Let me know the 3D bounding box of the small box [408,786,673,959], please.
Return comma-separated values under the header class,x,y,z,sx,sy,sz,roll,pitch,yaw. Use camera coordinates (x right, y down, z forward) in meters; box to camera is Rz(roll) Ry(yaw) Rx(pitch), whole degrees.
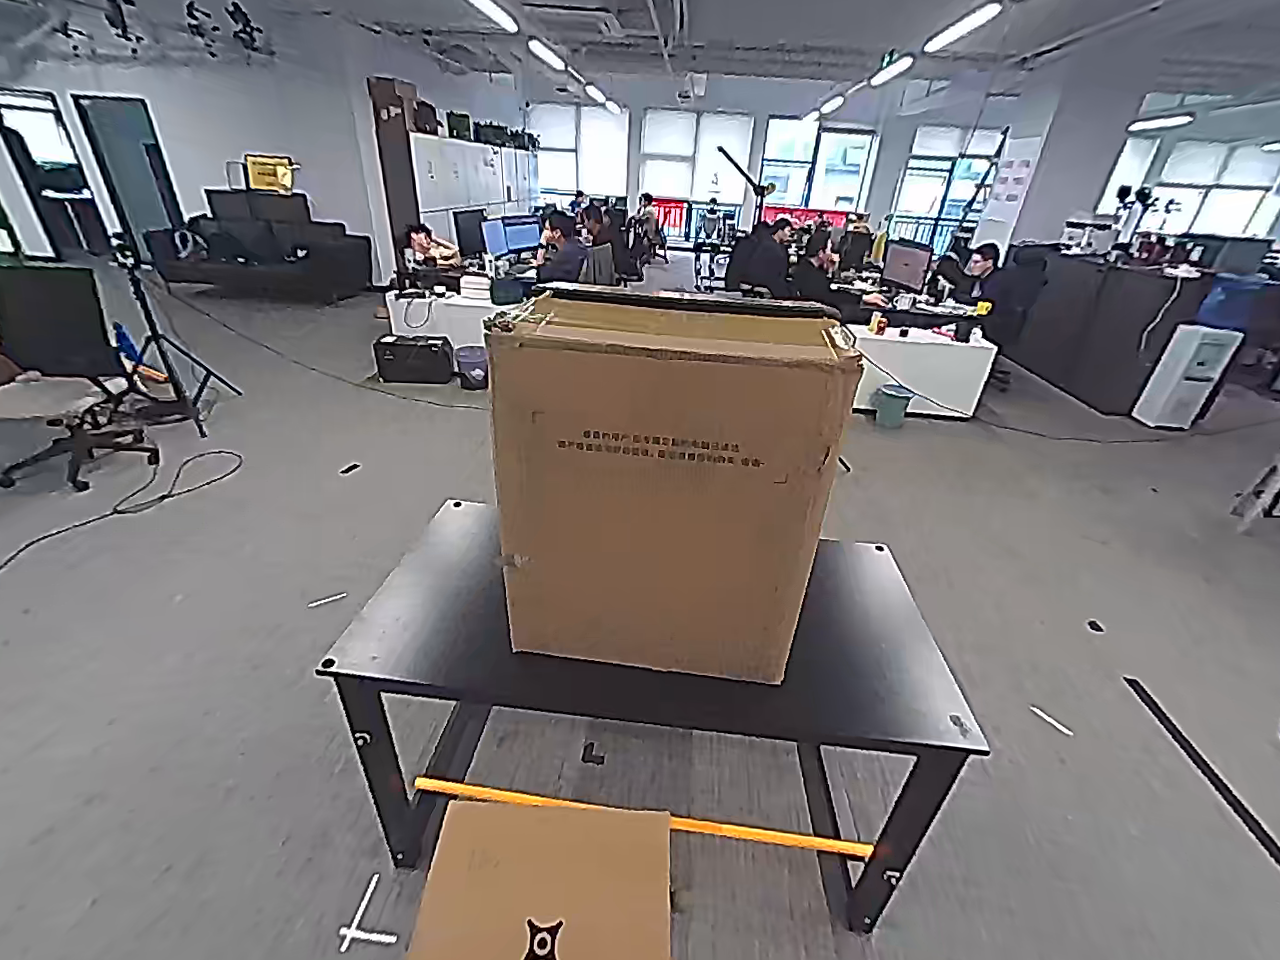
class,x,y,z,sx,sy,sz,roll,pitch,yaw
small box,-0.063,0.351,0.392,0.168,0.176,0.179,2,41,1
